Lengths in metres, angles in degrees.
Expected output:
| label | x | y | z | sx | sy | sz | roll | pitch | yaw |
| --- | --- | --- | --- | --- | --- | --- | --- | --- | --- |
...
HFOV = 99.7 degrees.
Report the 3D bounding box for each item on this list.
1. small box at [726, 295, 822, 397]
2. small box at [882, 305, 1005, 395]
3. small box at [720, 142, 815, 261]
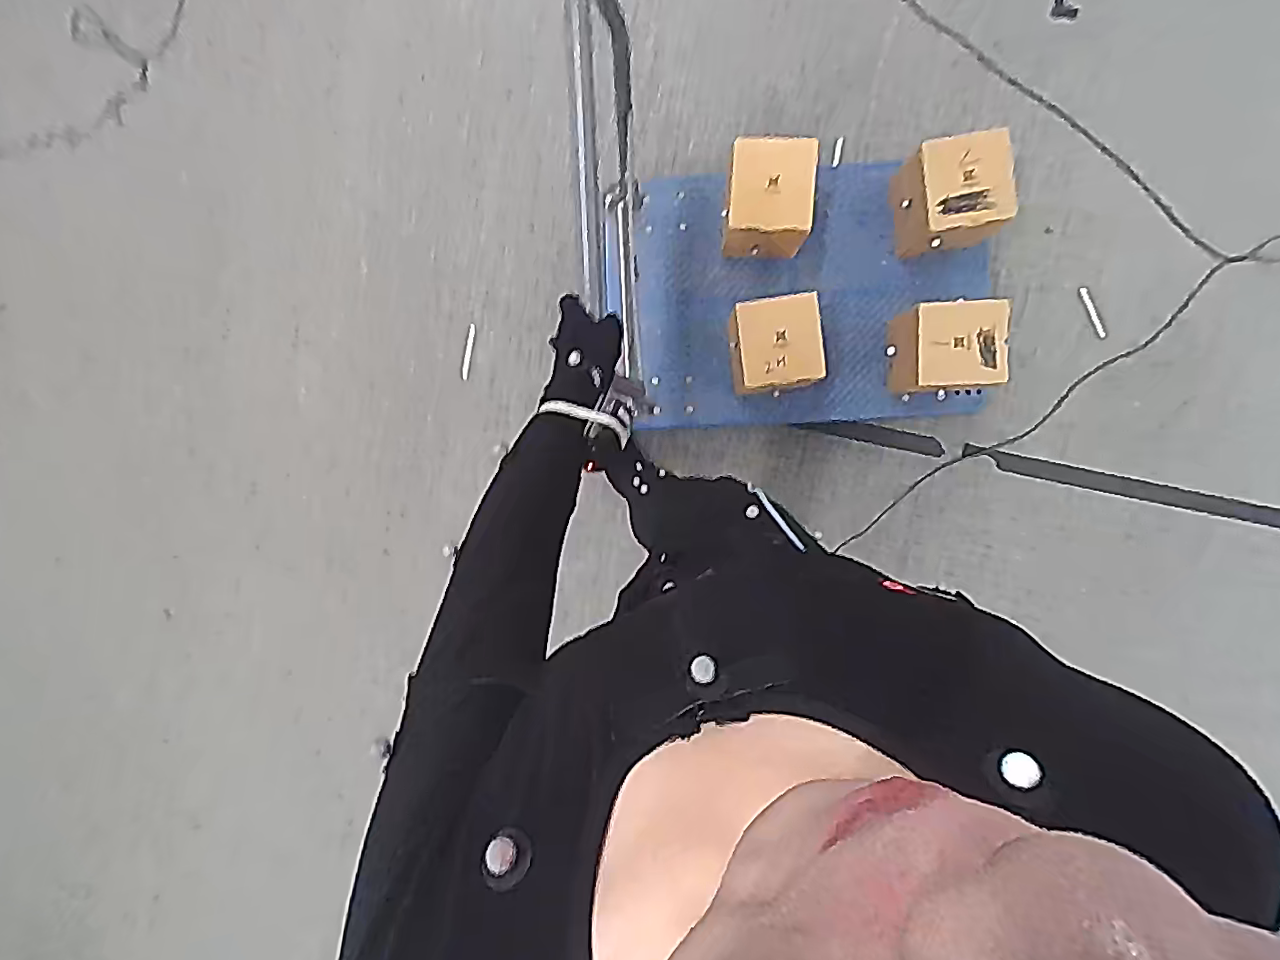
| label | x | y | z | sx | sy | sz | roll | pitch | yaw |
| --- | --- | --- | --- | --- | --- | --- | --- | --- | --- |
| small box | 0.284 | -0.284 | 1.179 | 0.168 | 0.176 | 0.179 | -7 | 93 | 4 |
| small box | 0.642 | -0.273 | 1.159 | 0.179 | 0.176 | 0.168 | -1 | 94 | 4 |
| small box | 0.265 | -0.591 | 1.161 | 0.168 | 0.176 | 0.179 | 3 | 95 | 3 |
